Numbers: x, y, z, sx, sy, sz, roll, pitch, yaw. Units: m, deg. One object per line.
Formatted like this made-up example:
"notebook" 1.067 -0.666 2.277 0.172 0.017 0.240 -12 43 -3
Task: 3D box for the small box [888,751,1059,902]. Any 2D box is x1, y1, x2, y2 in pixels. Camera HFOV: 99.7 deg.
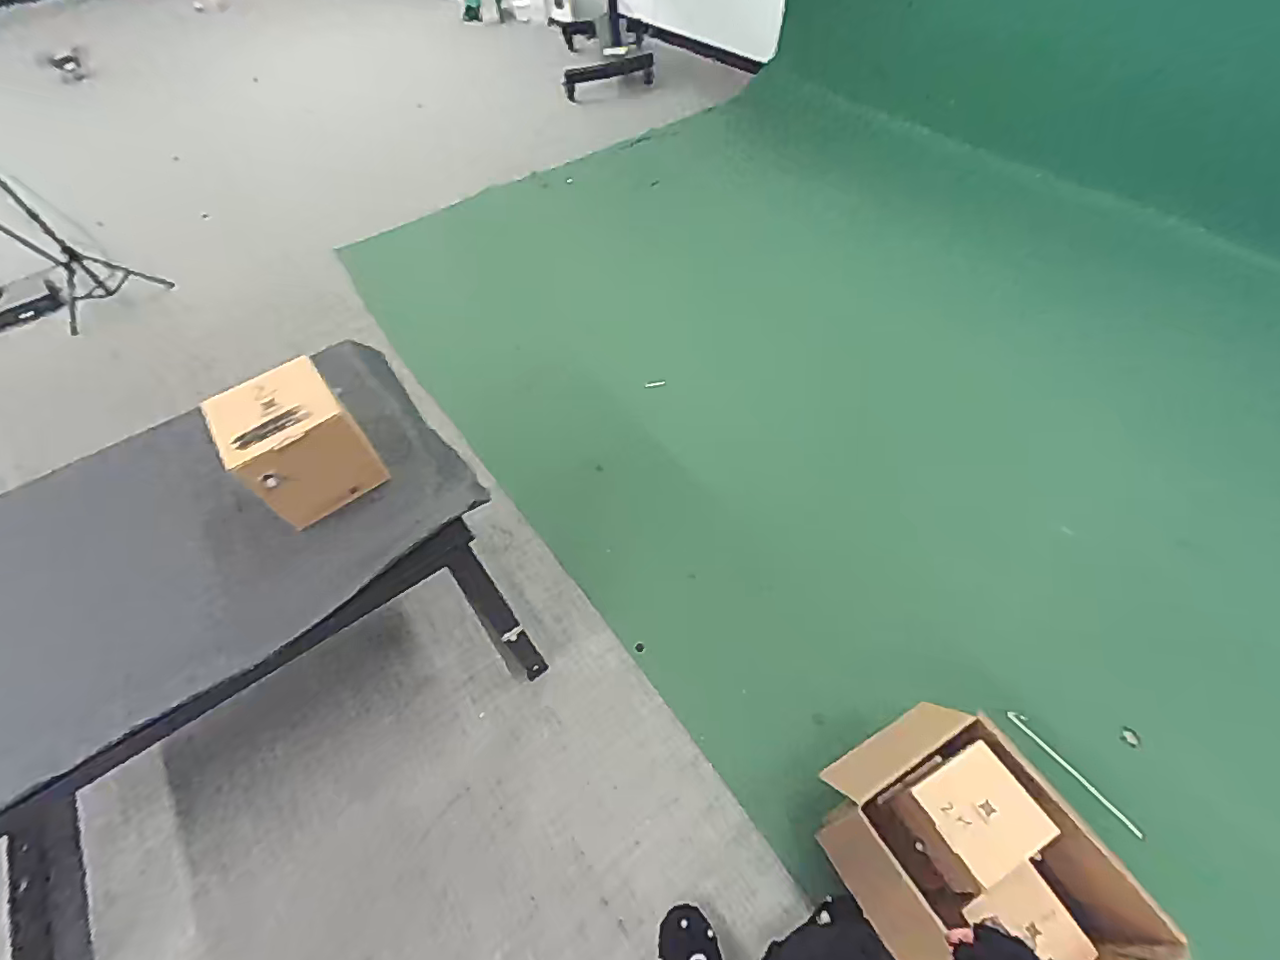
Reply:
"small box" 0.592 0.631 0.988 0.179 0.176 0.168 -24 54 -14
